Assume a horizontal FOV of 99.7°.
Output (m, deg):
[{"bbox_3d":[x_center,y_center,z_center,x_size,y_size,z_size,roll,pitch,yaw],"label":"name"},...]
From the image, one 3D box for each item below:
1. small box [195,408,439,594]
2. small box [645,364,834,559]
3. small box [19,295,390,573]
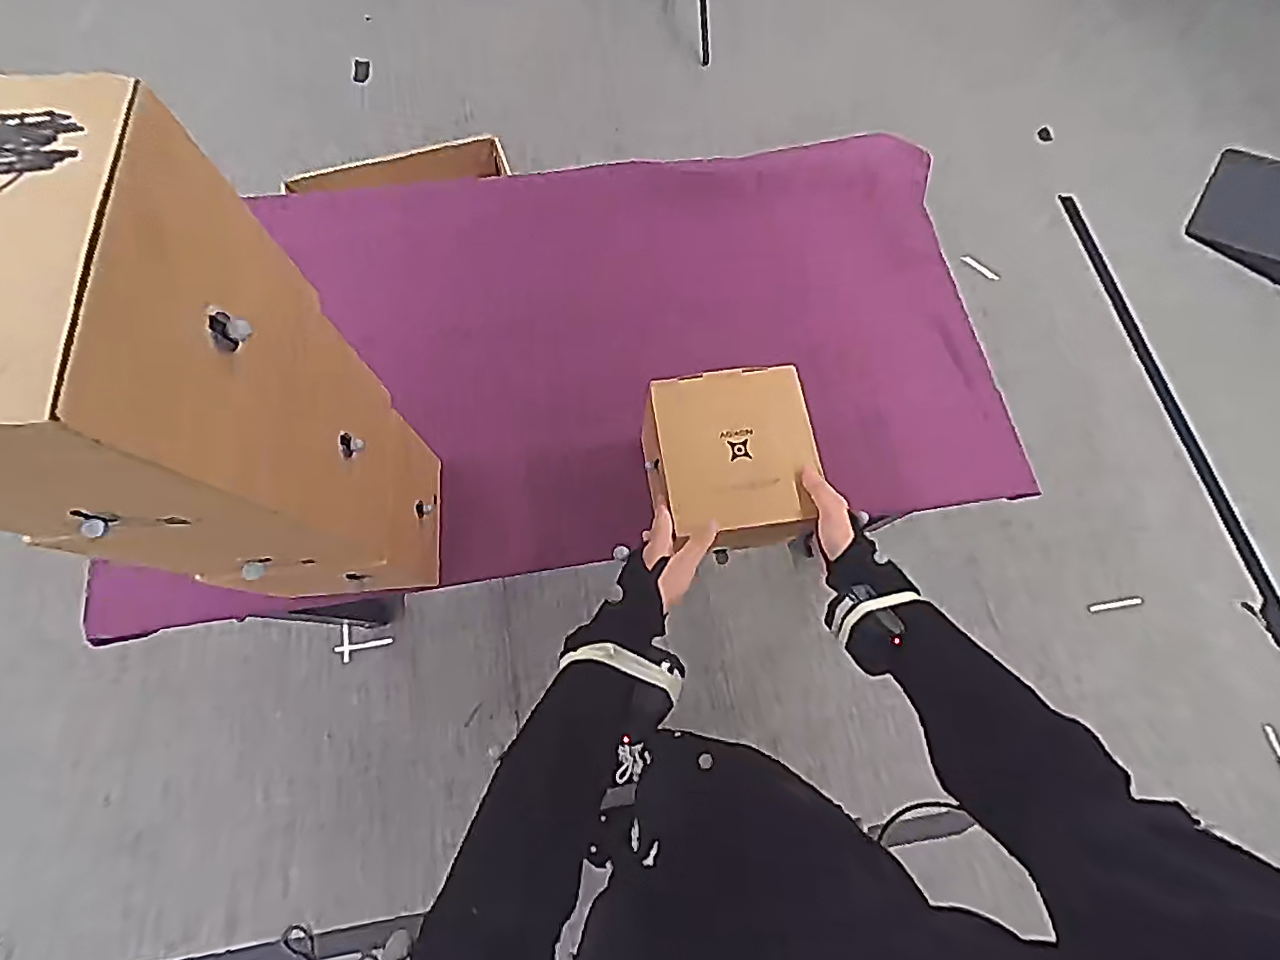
[{"bbox_3d":[-0.333,0.032,0.600,0.179,0.176,0.168,-4,72,-4],"label":"small box"},{"bbox_3d":[0.101,-0.013,0.639,0.168,0.176,0.179,-8,74,-4],"label":"small box"},{"bbox_3d":[-0.322,-0.027,0.447,0.168,0.176,0.179,-5,74,-5],"label":"small box"}]
